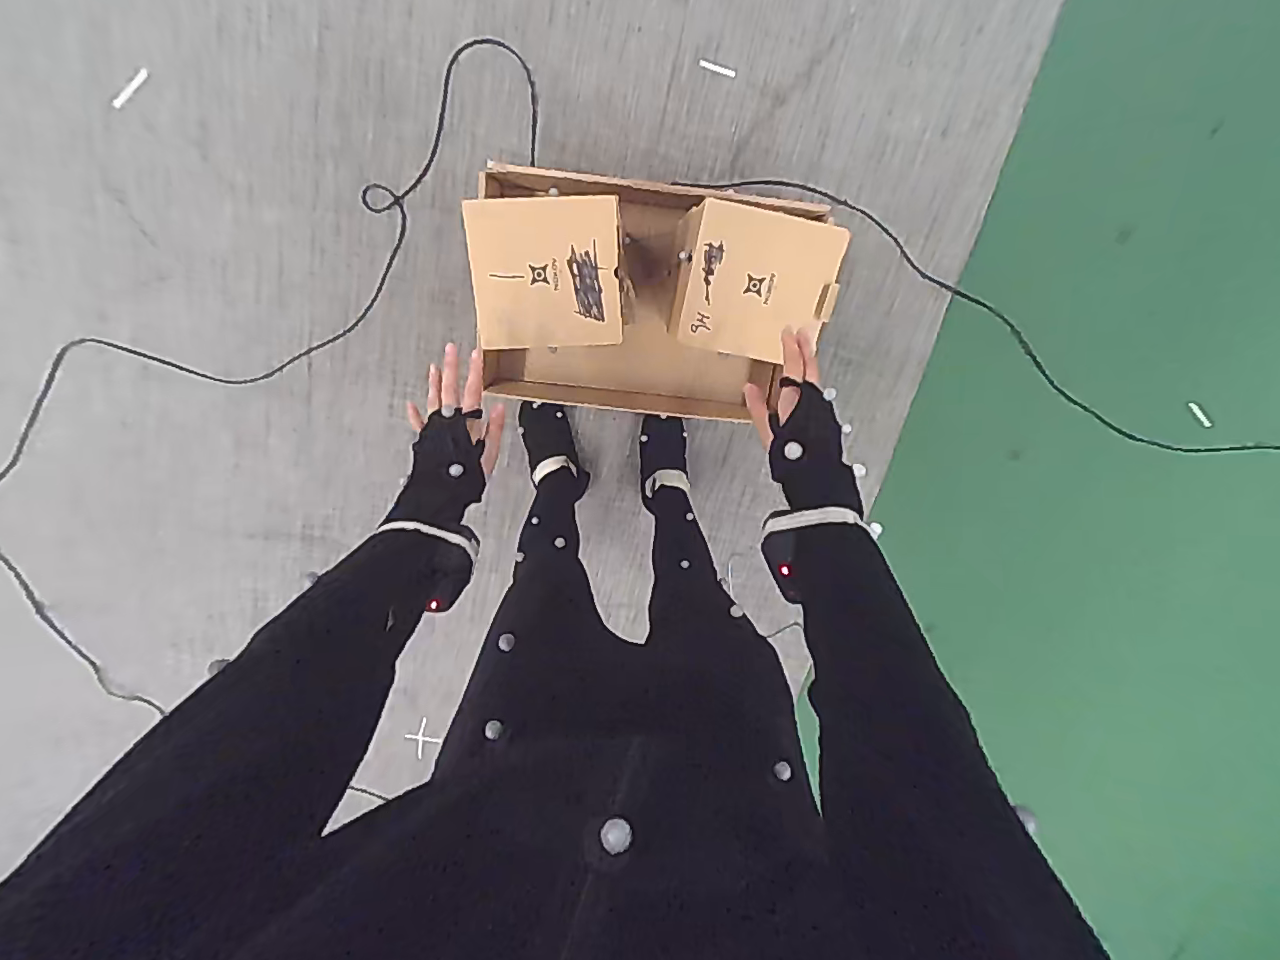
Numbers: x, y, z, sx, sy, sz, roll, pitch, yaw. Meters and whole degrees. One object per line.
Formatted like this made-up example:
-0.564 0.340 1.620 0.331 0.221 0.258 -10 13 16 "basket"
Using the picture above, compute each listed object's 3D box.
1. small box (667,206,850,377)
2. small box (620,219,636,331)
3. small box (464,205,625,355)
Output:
0.141 -0.245 0.716 0.179 0.176 0.168 11 108 -5 "small box"
-0.108 -0.318 0.861 0.179 0.176 0.168 -9 111 1 "small box"
-0.112 -0.260 0.707 0.179 0.176 0.168 -3 110 -1 "small box"
